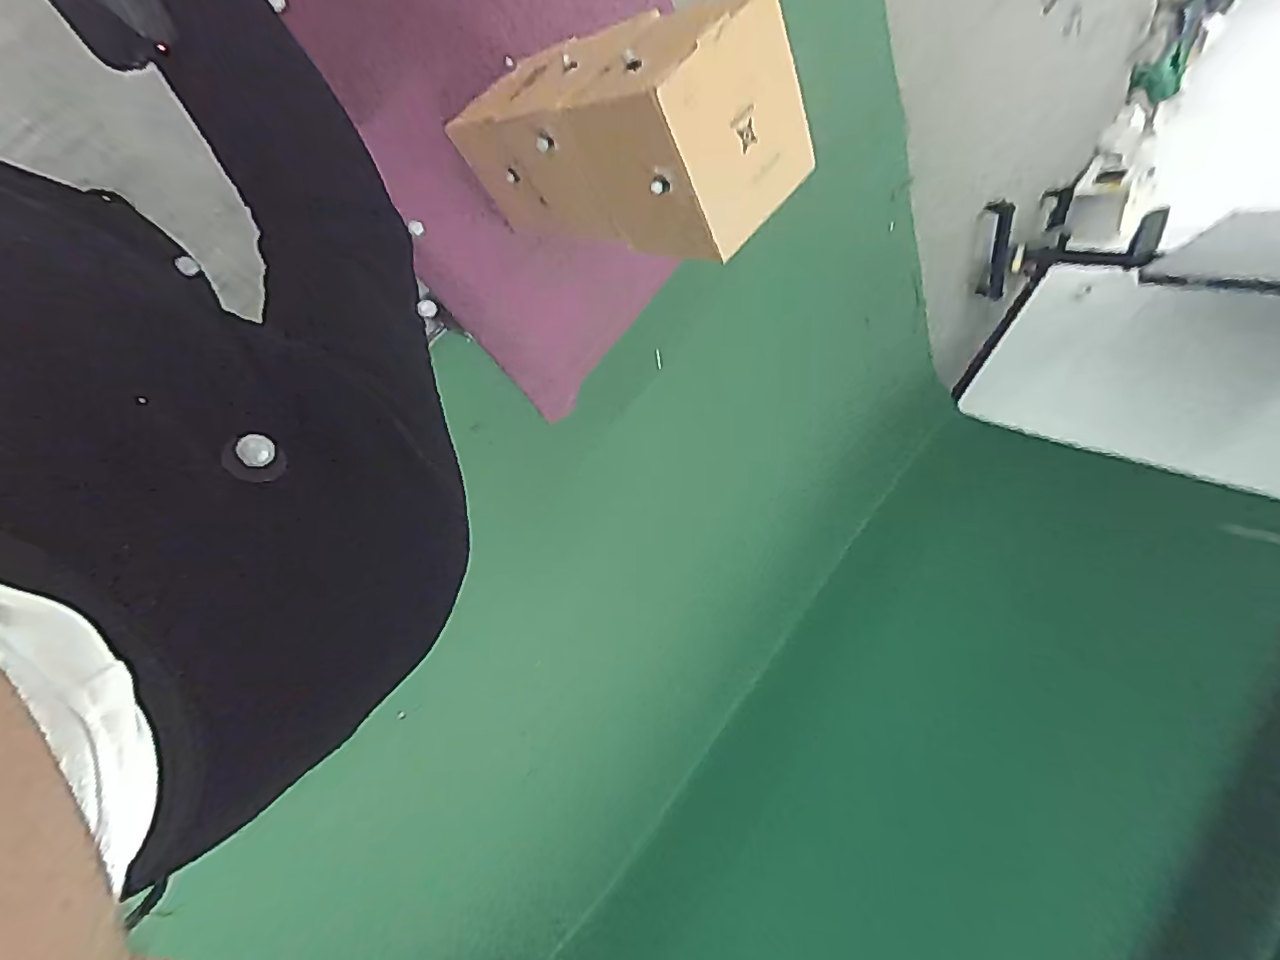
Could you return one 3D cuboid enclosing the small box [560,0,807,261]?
[{"bbox_3d":[0.046,-0.363,0.581,0.168,0.176,0.179,-49,135,-11],"label":"small box"}]

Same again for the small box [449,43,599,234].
[{"bbox_3d":[-0.149,-0.495,0.808,0.168,0.176,0.179,-50,136,-11],"label":"small box"}]
